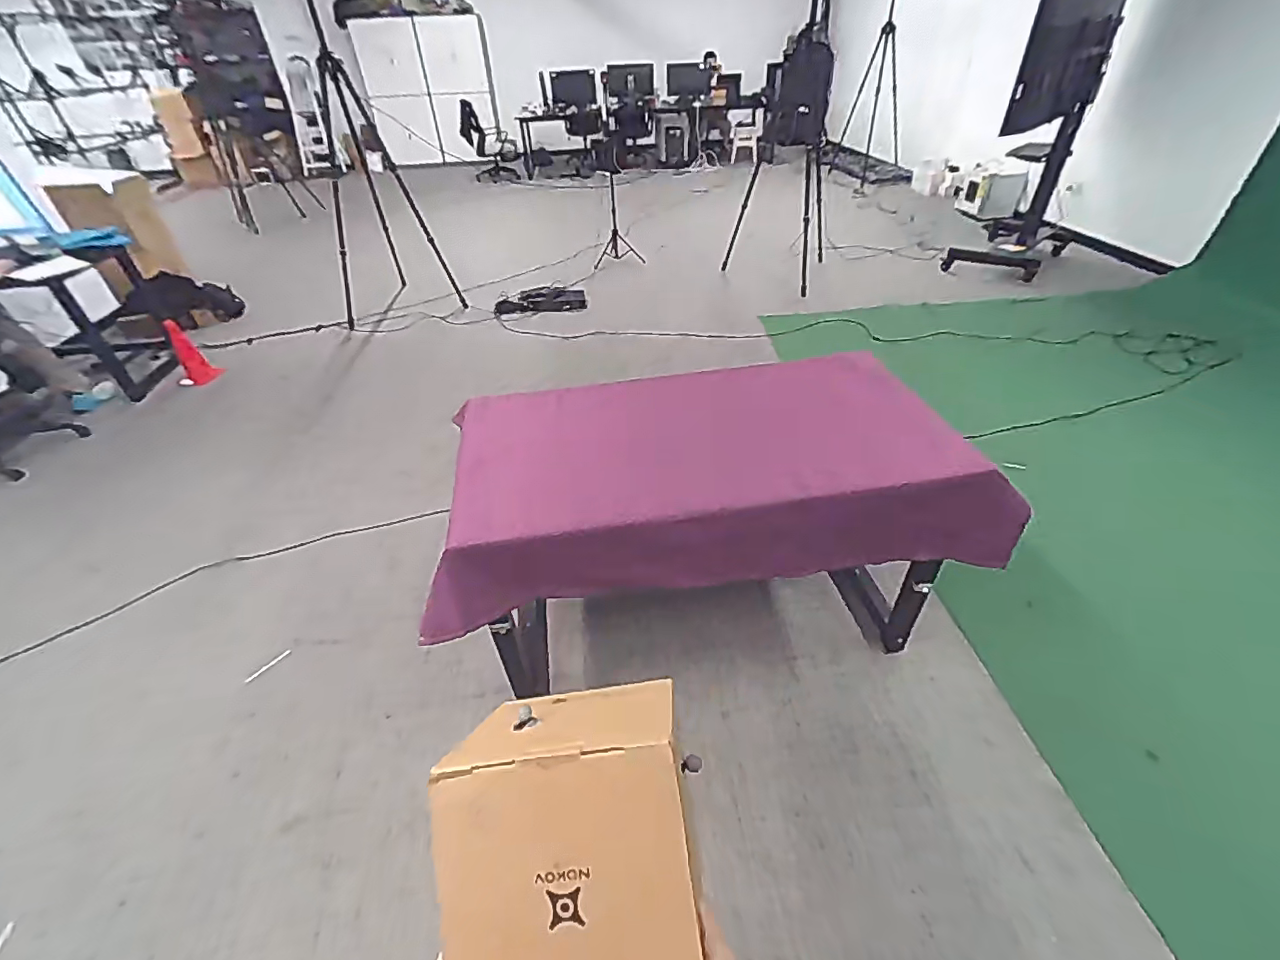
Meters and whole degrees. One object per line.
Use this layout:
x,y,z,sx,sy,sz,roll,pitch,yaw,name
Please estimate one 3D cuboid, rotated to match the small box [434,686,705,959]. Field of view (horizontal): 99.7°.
-0.044,0.274,0.429,0.168,0.176,0.179,-8,83,3,small box
